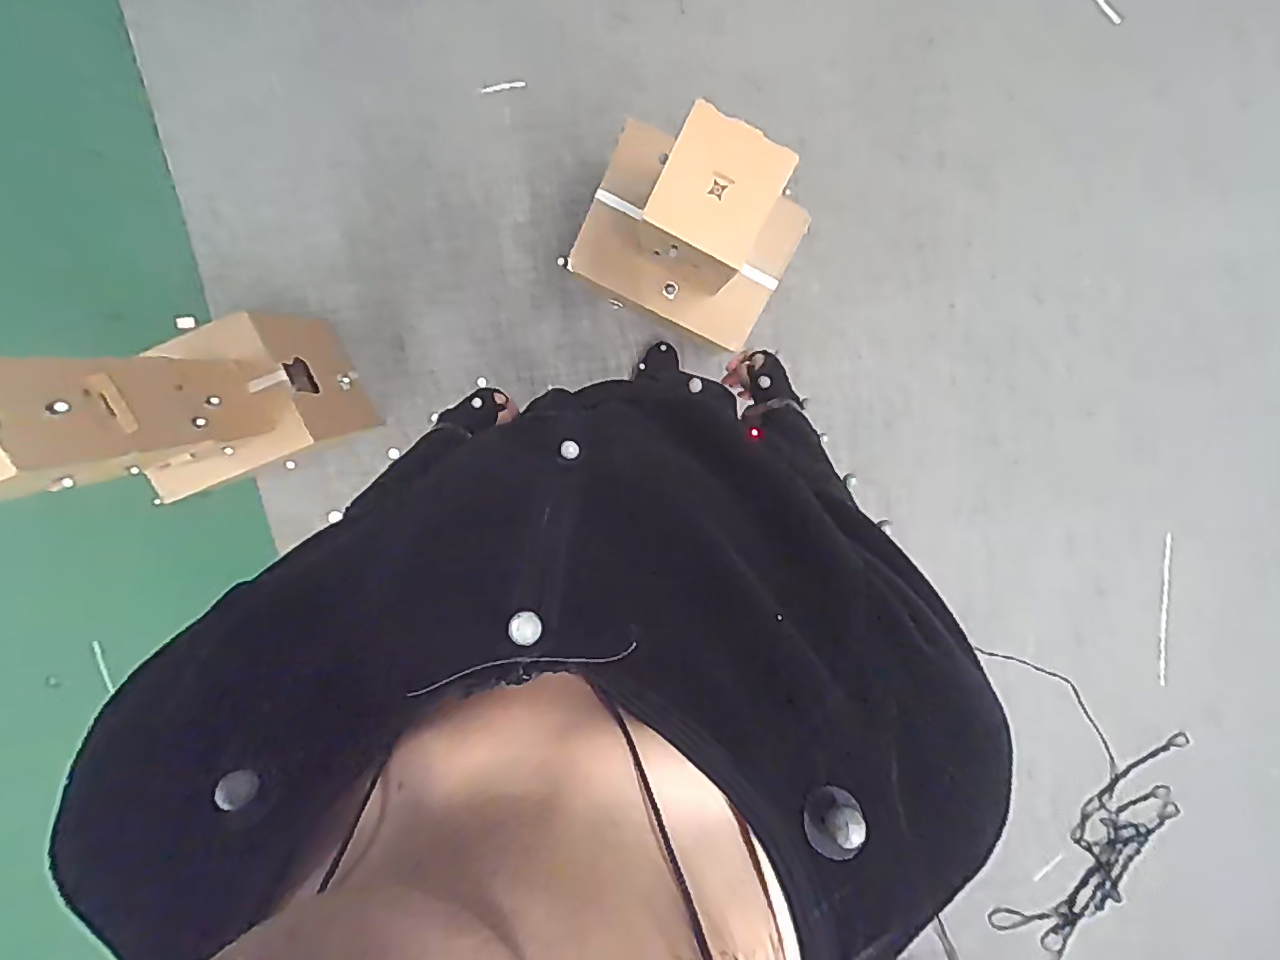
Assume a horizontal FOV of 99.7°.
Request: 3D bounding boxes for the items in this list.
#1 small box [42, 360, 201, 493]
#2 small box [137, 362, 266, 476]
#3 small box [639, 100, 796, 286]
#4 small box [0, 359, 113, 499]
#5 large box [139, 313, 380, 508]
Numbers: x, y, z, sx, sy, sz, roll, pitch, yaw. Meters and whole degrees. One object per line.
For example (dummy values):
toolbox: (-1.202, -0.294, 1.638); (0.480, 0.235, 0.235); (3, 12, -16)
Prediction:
small box: (-0.911, -0.100, 0.927); (0.179, 0.176, 0.168); (-22, 101, 6)
small box: (-0.910, -0.130, 1.088); (0.168, 0.176, 0.179); (-20, 101, 5)
small box: (0.110, -0.424, 0.838); (0.168, 0.176, 0.179); (27, 99, -4)
small box: (-0.917, -0.068, 0.766); (0.179, 0.176, 0.168); (-21, 100, 4)
large box: (-0.949, -0.177, 1.329); (0.408, 0.320, 0.320); (-21, 99, 7)
